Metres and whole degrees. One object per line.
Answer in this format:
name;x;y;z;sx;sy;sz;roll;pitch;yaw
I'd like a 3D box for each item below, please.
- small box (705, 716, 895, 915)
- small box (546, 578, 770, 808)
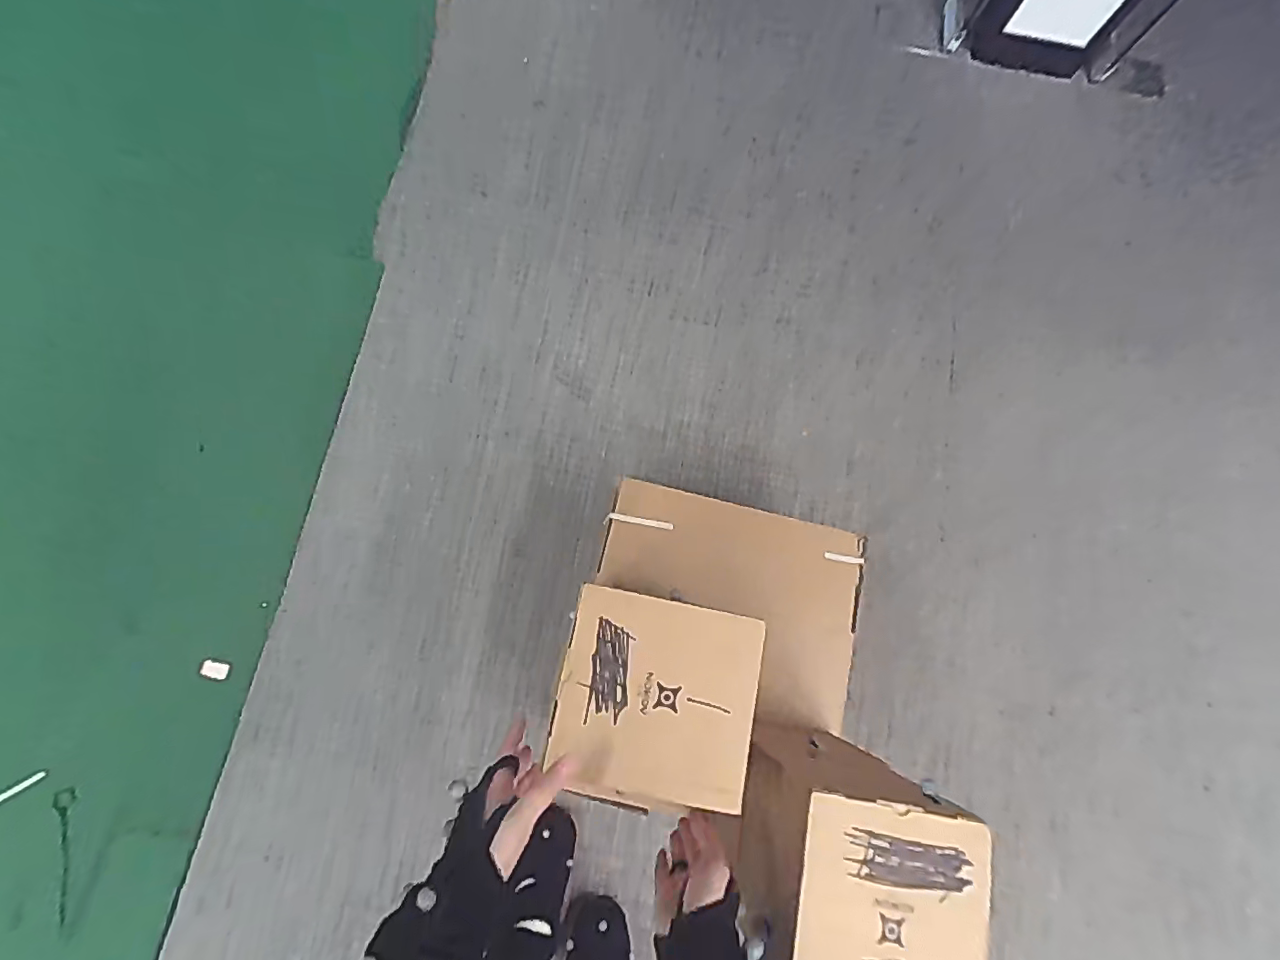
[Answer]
small box;0.195;0.408;0.692;0.179;0.176;0.168;11;76;-2
small box;0.016;0.203;0.554;0.179;0.176;0.168;11;77;0
